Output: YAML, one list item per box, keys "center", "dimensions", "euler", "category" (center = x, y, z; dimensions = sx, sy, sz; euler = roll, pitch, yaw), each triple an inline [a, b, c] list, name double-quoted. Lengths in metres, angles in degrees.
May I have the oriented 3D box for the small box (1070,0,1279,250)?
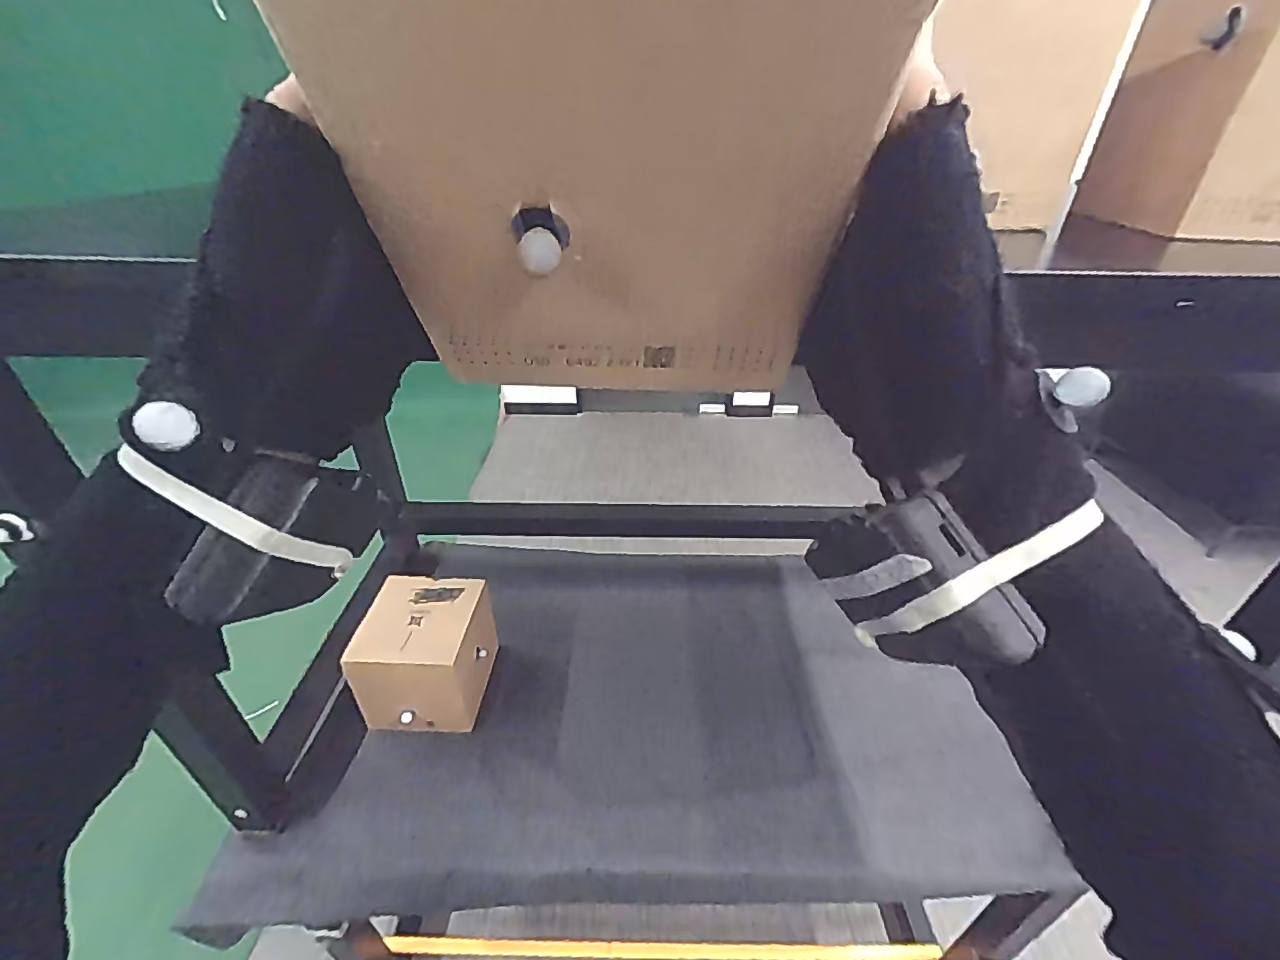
- center: [0.486, -0.278, 0.414]
  dimensions: [0.168, 0.176, 0.179]
  euler: [7, 34, 9]
  category: "small box"

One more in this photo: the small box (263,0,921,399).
- center: [-0.009, -0.151, 0.238]
  dimensions: [0.168, 0.176, 0.179]
  euler: [2, 64, 1]
  category: "small box"

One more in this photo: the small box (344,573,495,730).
- center: [-0.342, 0.275, 0.881]
  dimensions: [0.168, 0.176, 0.179]
  euler: [2, 34, 1]
  category: "small box"
